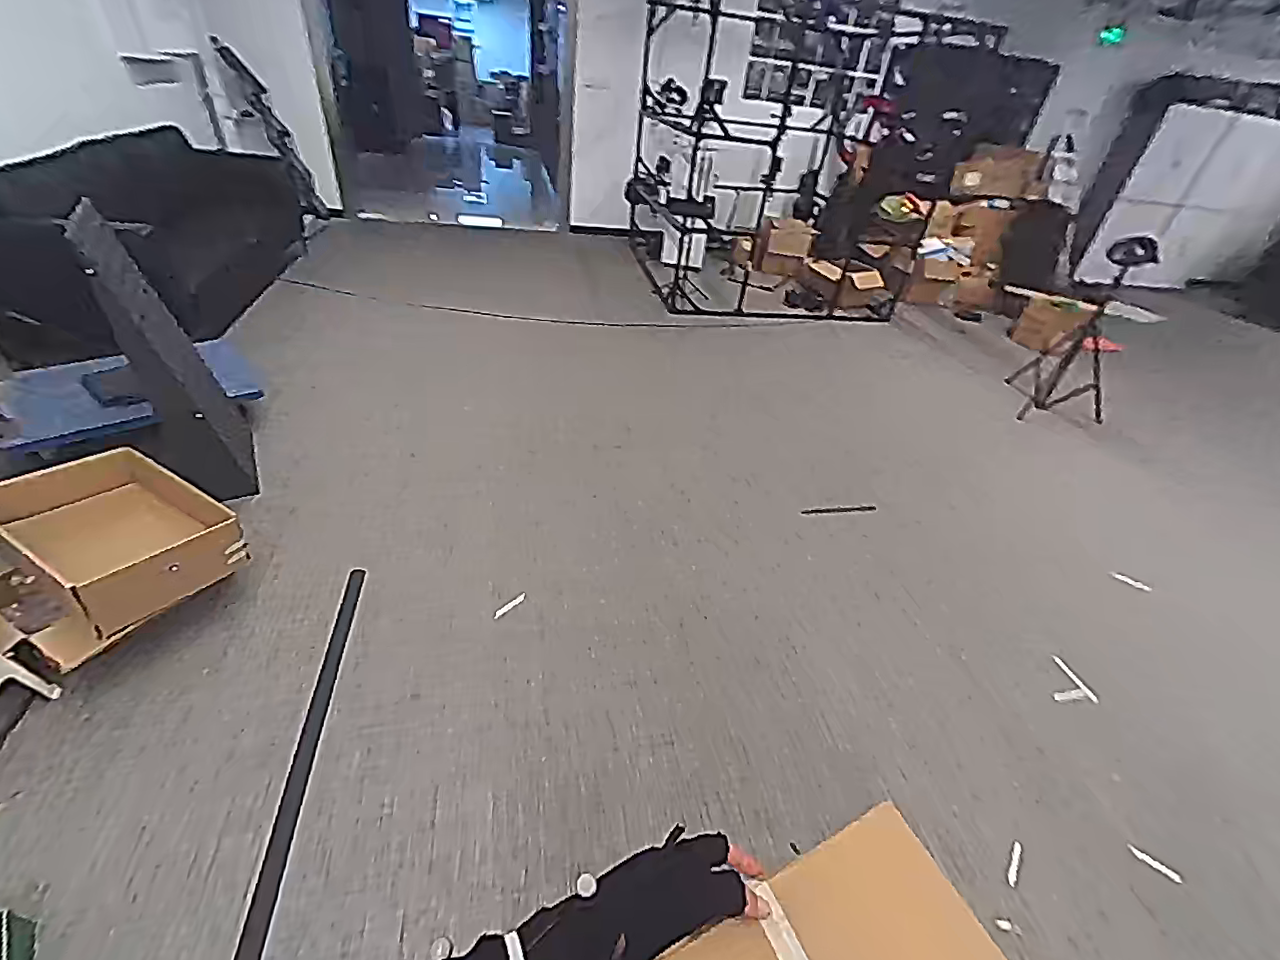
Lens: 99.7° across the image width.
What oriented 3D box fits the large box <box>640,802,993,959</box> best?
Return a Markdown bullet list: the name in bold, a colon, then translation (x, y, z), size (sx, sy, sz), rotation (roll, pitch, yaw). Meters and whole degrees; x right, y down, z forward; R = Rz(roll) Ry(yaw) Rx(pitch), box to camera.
- **large box**: translation (0.163, 0.575, 0.434), size (0.320, 0.320, 0.408), rotation (-15, 48, -25)
